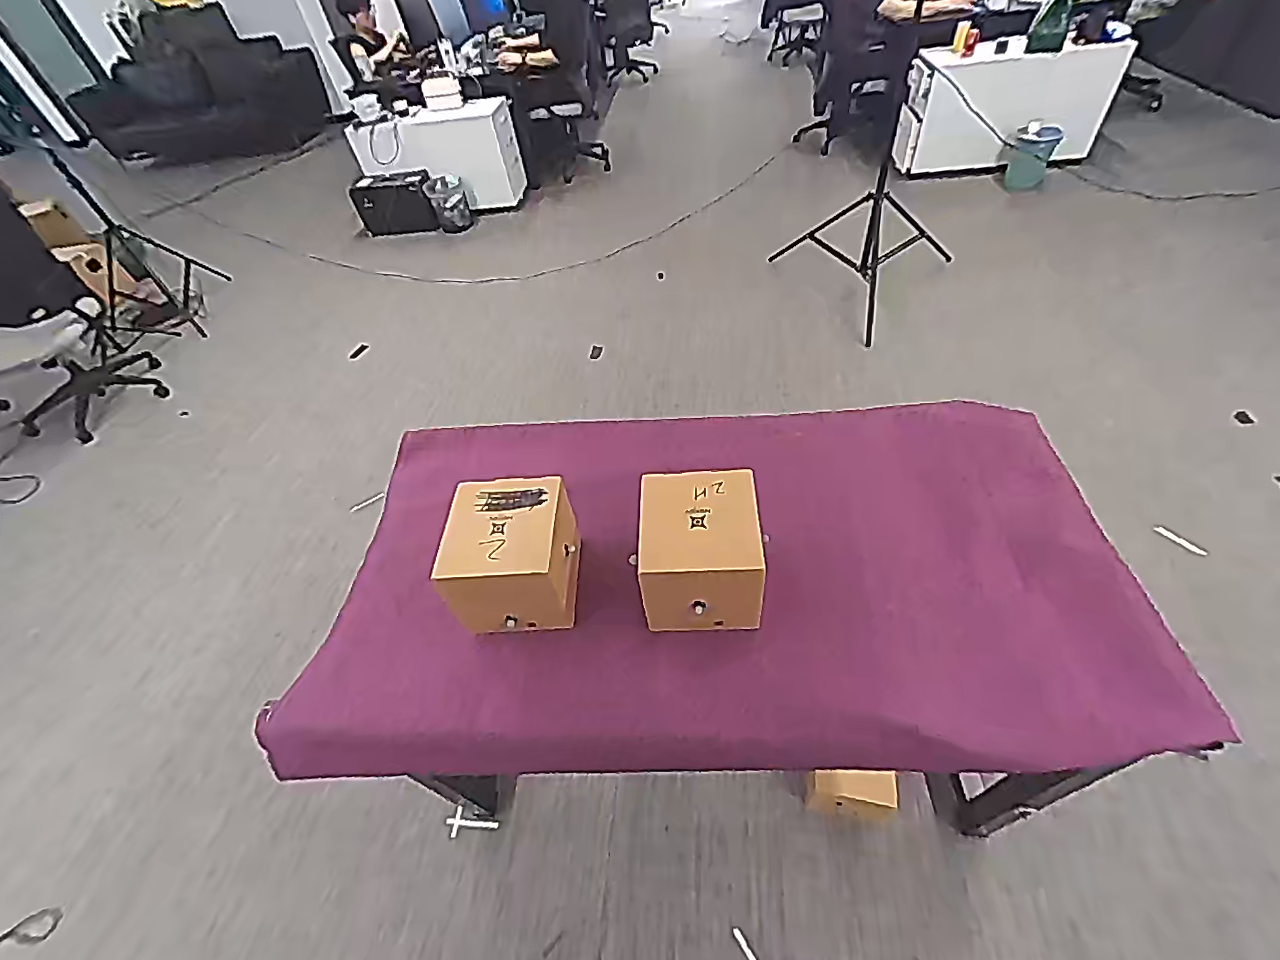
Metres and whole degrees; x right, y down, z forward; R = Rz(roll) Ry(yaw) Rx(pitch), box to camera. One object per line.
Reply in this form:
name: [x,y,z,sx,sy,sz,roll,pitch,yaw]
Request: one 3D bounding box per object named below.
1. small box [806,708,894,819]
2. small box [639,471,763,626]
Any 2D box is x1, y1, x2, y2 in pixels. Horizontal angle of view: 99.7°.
small box: [0.479,0.657,1.248,0.168,0.176,0.179,5,49,14]
small box: [0.092,0.107,0.813,0.168,0.176,0.179,-2,48,6]
